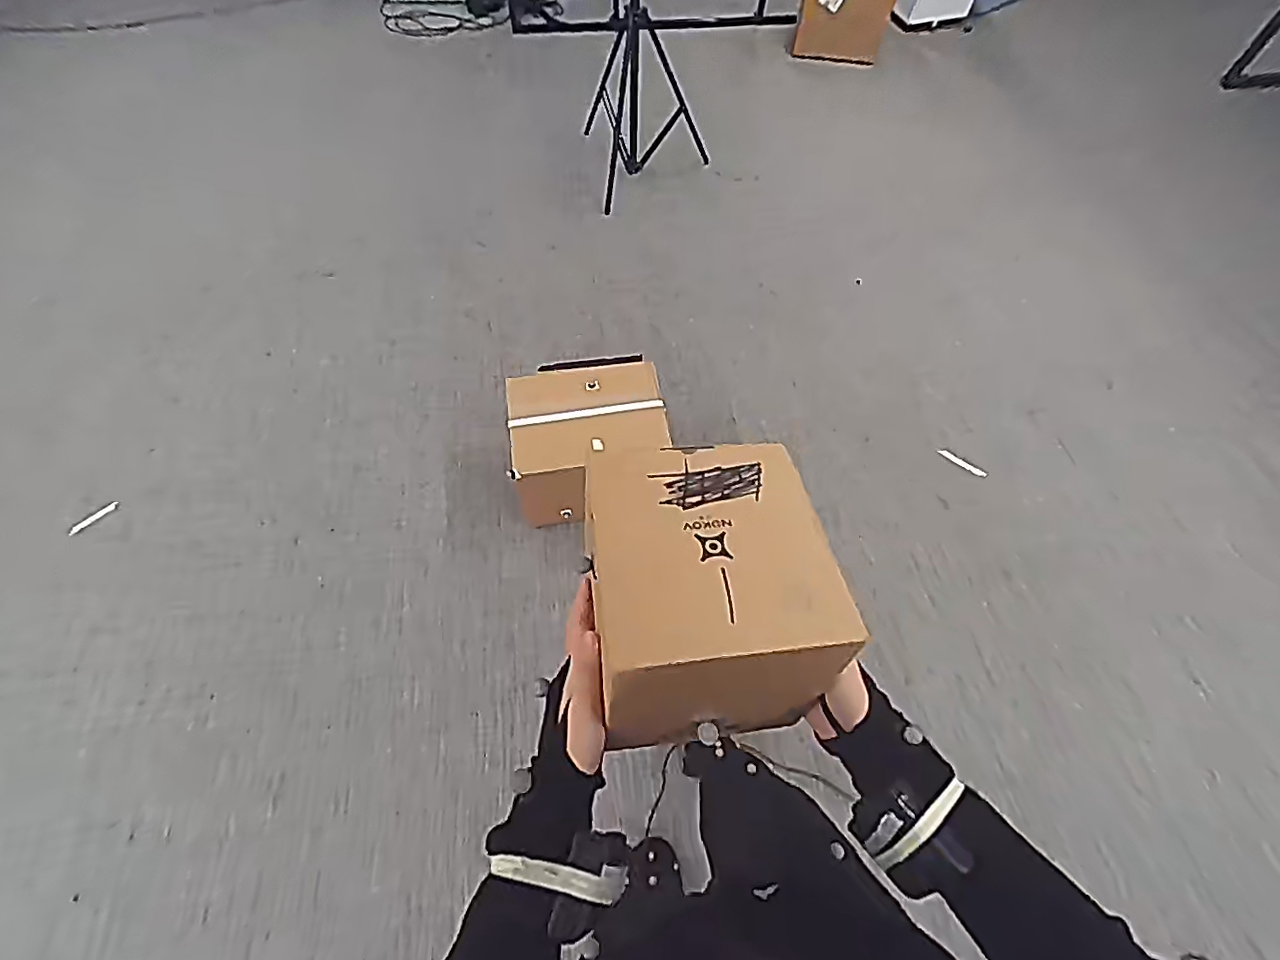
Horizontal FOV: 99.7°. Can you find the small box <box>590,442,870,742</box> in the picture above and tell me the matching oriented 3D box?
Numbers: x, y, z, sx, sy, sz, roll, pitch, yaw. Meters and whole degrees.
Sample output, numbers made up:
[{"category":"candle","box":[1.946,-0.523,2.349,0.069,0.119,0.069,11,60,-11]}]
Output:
[{"category":"small box","box":[0.047,0.090,0.442,0.168,0.176,0.179,-4,50,-9]}]
